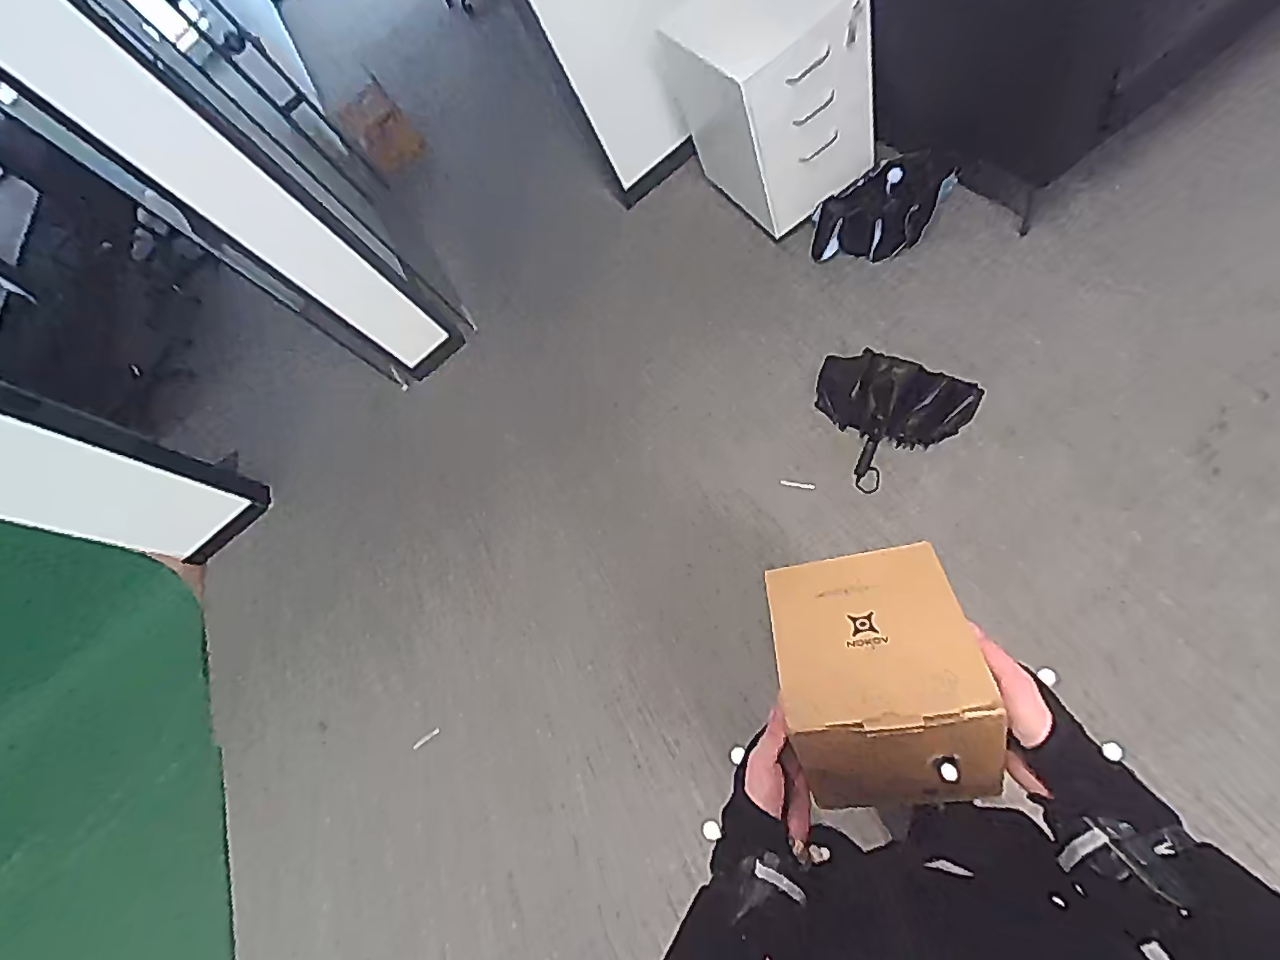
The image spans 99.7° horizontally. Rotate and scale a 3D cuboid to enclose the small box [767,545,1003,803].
[{"bbox_3d":[0.232,0.197,0.535,0.168,0.176,0.179,-13,35,15],"label":"small box"}]
